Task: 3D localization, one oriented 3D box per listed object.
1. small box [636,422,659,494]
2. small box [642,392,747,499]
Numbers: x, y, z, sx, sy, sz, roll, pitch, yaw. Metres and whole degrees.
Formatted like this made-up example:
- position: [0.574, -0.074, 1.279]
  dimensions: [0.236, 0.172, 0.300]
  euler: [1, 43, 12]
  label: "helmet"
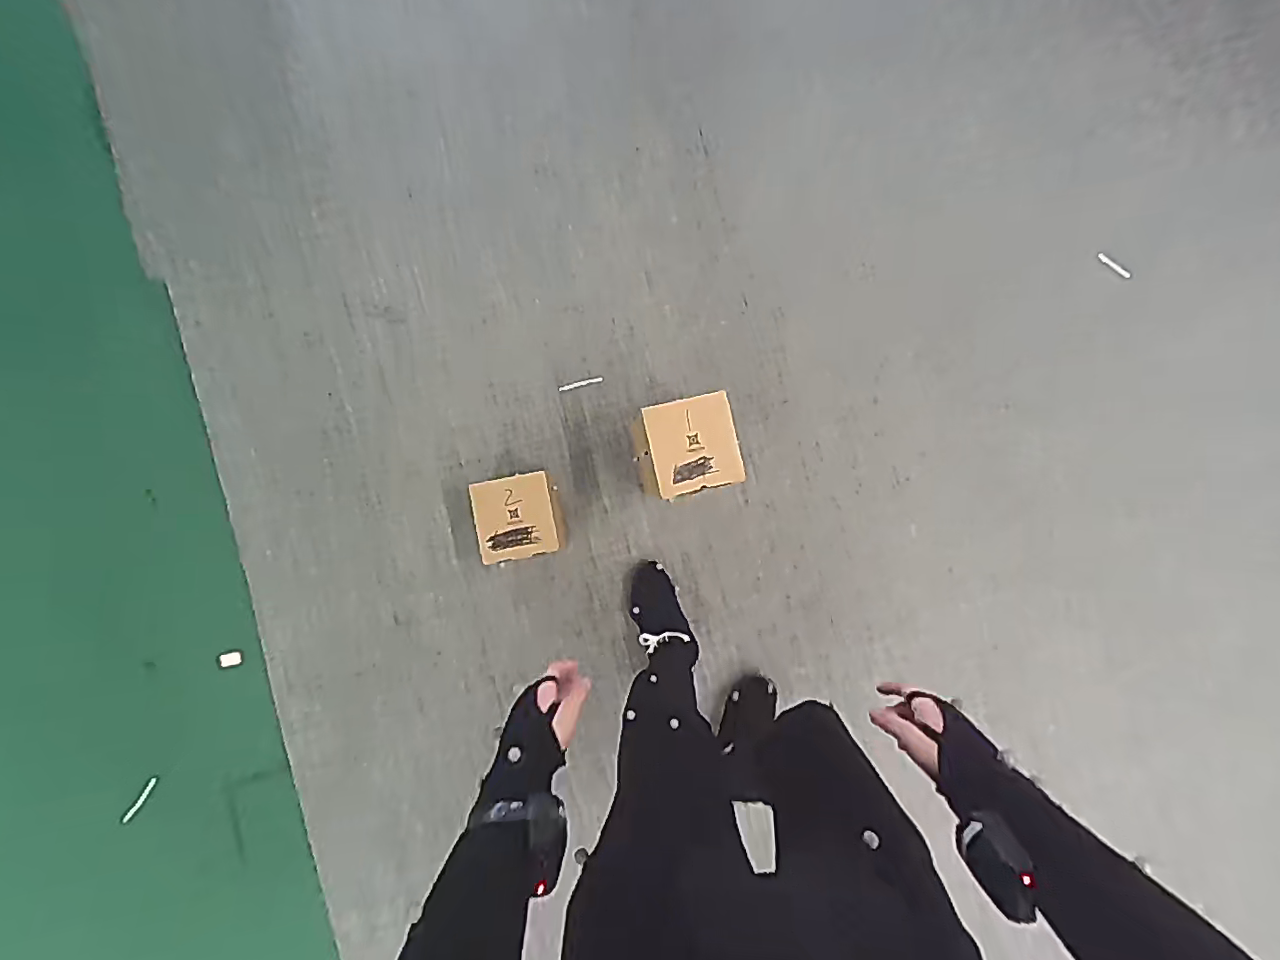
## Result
- position: [0.092, -0.063, 1.257]
  dimensions: [0.179, 0.176, 0.168]
  euler: [-14, 90, -4]
  label: "small box"
- position: [0.103, -0.064, 1.093]
  dimensions: [0.168, 0.176, 0.179]
  euler: [-13, 88, -3]
  label: "small box"
